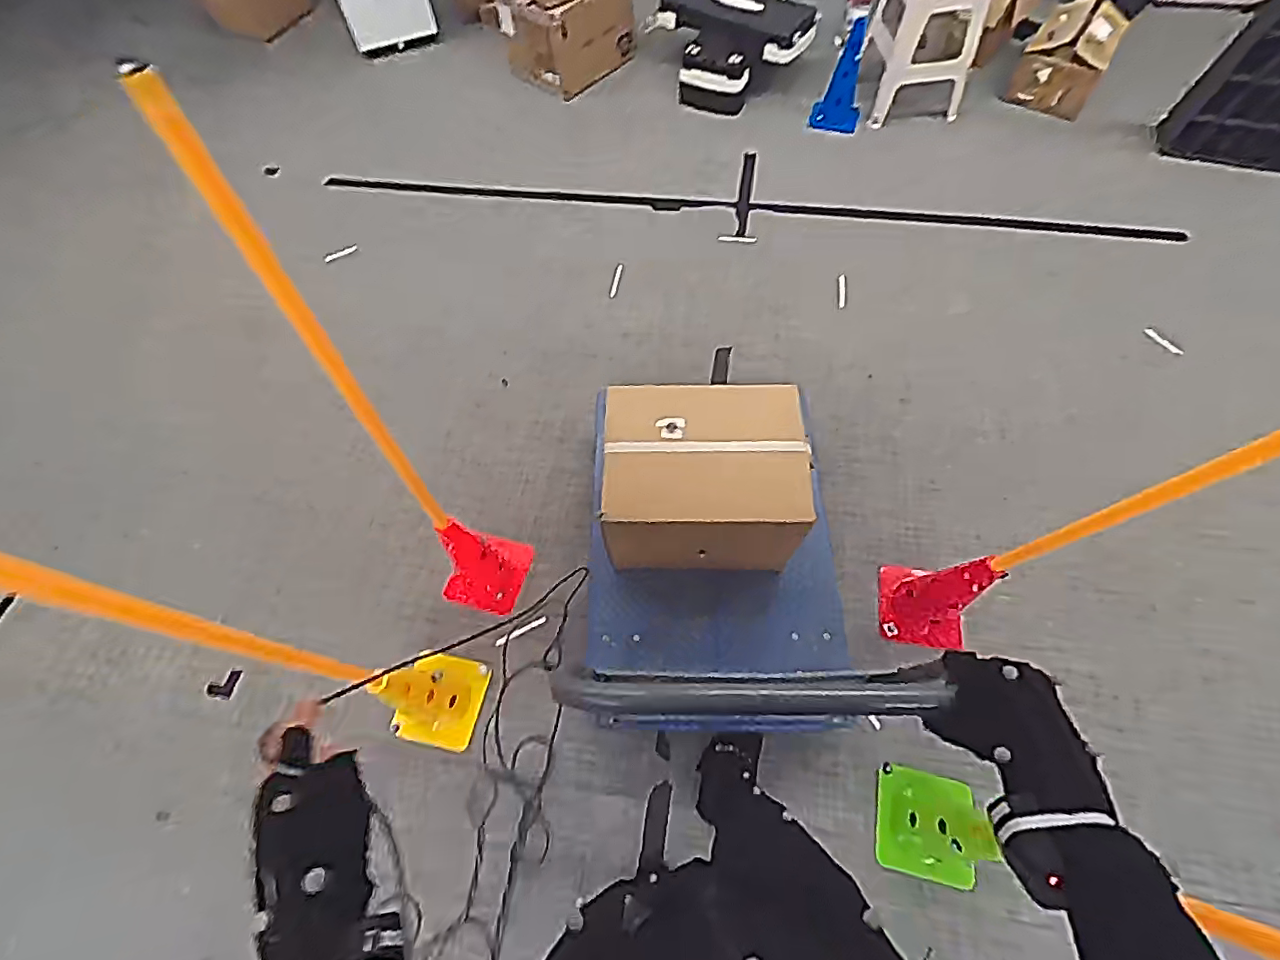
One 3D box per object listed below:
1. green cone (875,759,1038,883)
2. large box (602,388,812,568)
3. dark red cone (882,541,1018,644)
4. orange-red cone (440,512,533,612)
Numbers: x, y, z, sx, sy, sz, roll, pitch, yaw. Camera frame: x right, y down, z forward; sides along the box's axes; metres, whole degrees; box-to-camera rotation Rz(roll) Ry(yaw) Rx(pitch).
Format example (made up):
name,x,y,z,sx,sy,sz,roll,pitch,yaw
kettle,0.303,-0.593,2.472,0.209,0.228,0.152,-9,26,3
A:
name,x,y,z,sx,sy,sz,roll,pitch,yaw
green cone,0.614,0.659,1.024,0.202,0.368,0.200,12,64,7
large box,0.134,0.010,1.217,0.408,0.320,0.320,0,64,3
dark red cone,0.715,0.227,1.221,0.201,0.394,0.202,8,64,5
orange-red cone,-0.413,0.165,1.323,0.198,0.360,0.199,15,63,9
